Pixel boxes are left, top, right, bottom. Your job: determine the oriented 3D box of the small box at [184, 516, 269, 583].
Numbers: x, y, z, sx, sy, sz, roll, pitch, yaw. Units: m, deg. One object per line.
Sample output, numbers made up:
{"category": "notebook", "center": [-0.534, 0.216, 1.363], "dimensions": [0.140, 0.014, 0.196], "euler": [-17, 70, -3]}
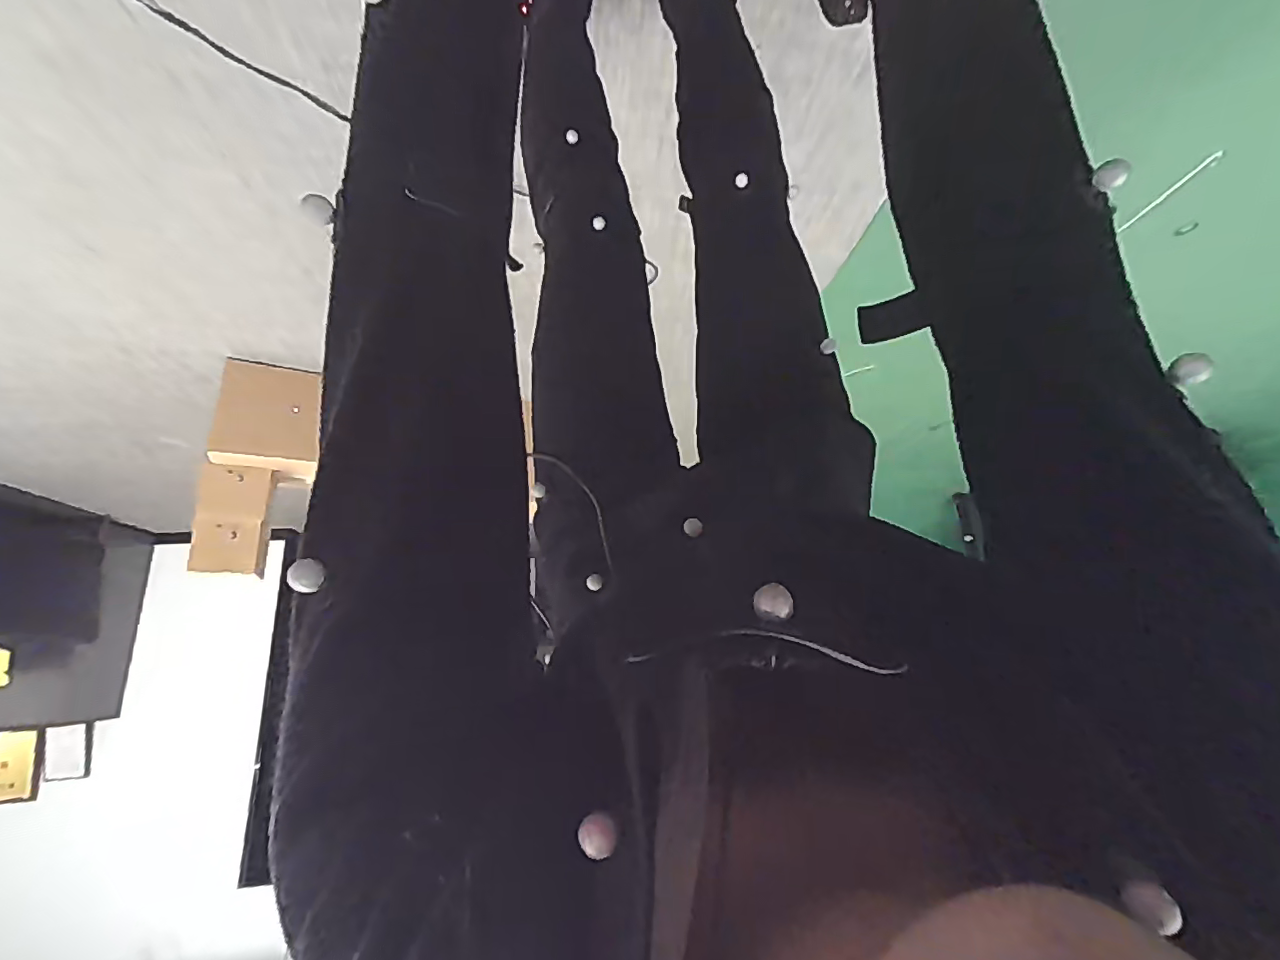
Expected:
{"category": "small box", "center": [-1.249, 0.216, 1.645], "dimensions": [0.168, 0.176, 0.179], "euler": [6, 159, -26]}
